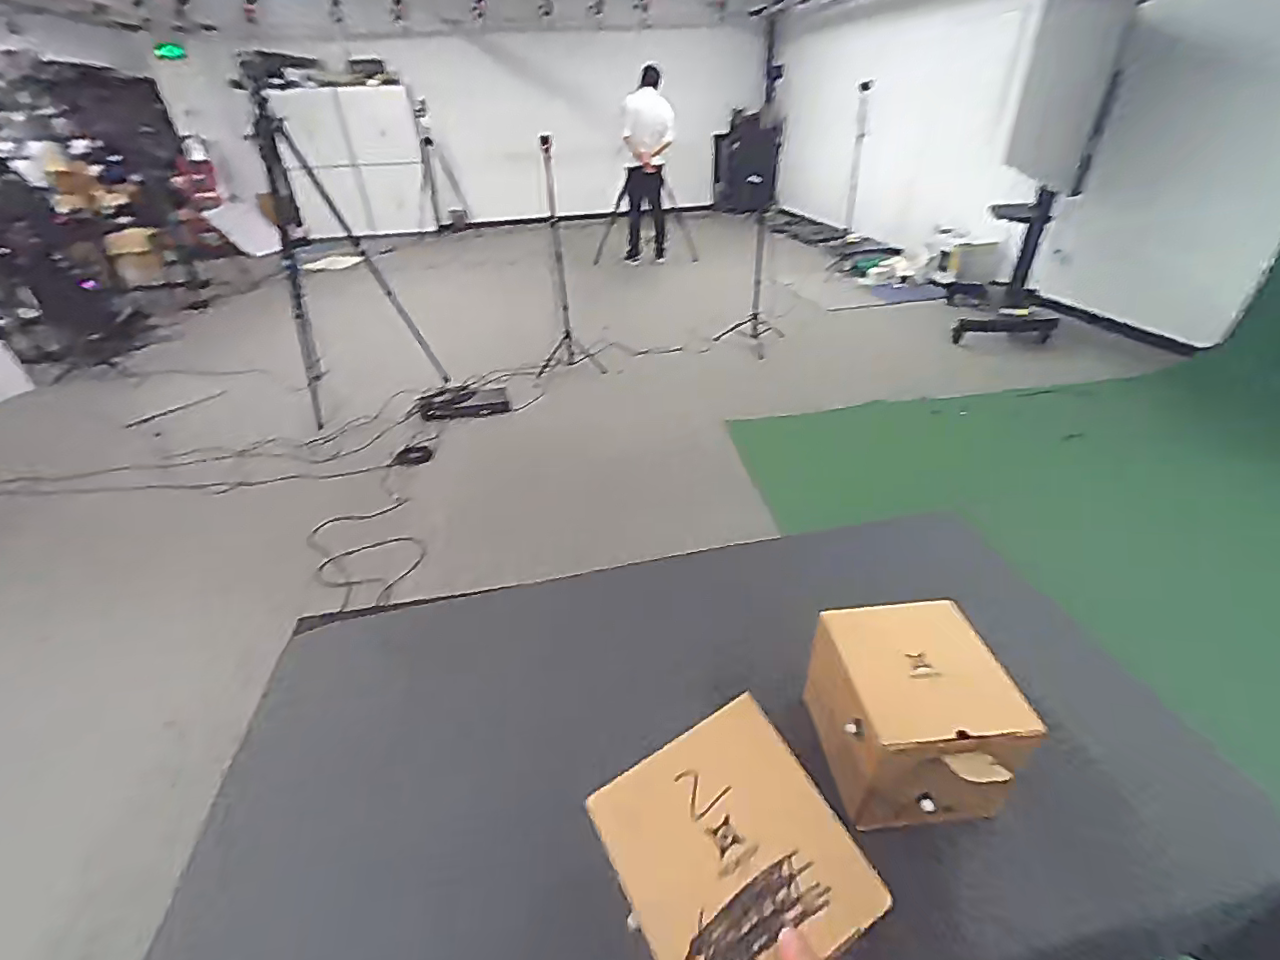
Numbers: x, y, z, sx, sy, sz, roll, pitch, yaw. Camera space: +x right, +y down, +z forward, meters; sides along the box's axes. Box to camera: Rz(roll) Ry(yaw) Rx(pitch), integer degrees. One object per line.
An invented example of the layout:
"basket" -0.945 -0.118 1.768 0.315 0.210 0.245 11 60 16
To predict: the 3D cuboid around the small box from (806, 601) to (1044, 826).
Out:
"small box" 0.309 0.269 0.636 0.168 0.176 0.179 -4 34 -3
